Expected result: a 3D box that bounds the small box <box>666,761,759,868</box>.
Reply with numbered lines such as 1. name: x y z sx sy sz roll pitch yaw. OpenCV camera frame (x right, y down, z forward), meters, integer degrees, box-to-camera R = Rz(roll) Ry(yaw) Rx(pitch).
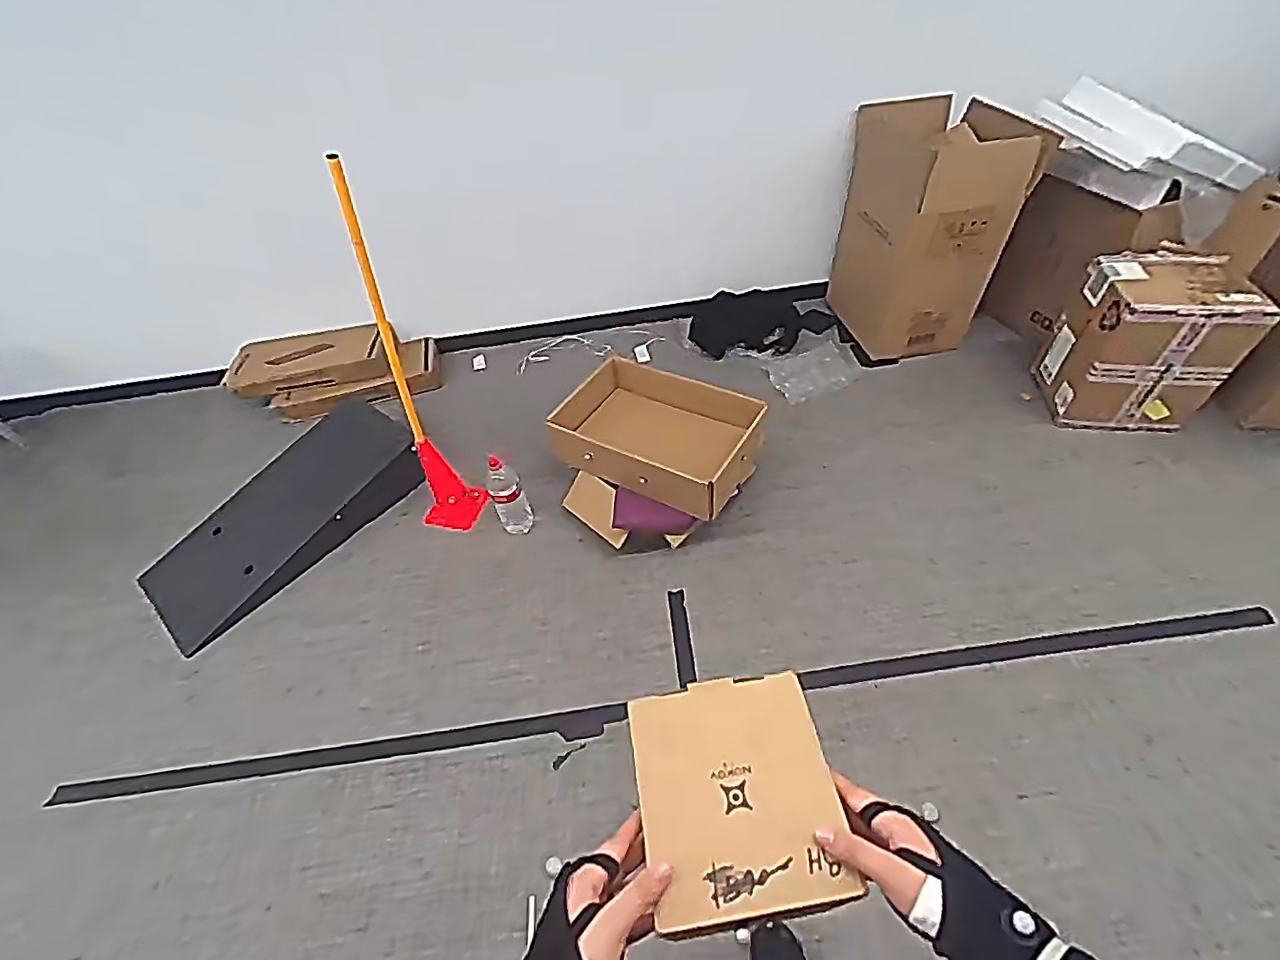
1. small box: 0.160 0.757 1.220 0.179 0.176 0.168 -9 46 1
